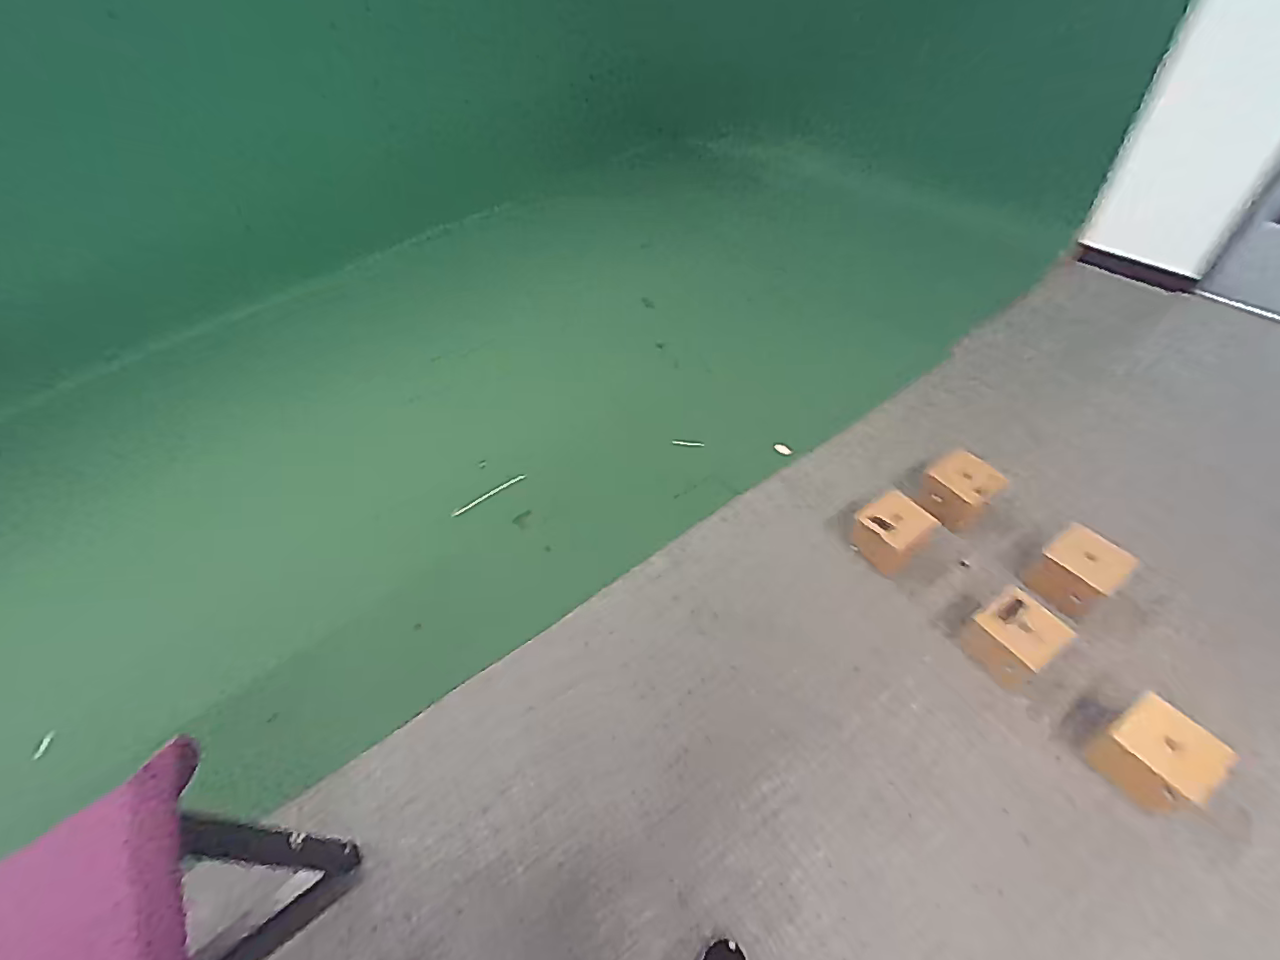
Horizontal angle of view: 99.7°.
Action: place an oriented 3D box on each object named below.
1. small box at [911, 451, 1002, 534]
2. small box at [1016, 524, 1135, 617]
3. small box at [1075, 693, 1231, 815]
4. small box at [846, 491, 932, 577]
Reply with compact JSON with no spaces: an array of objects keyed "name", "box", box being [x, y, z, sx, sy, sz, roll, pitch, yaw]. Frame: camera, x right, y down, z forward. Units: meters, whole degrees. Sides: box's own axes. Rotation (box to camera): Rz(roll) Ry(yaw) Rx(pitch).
[{"name":"small box","box":[1.024,0.044,1.767,0.168,0.176,0.179,-29,51,-14]},{"name":"small box","box":[1.231,0.267,1.544,0.168,0.176,0.179,-31,52,-17]},{"name":"small box","box":[1.170,0.636,1.251,0.168,0.176,0.179,-33,53,-17]},{"name":"small box","box":[0.773,0.175,1.702,0.179,0.176,0.168,-30,52,-16]}]
